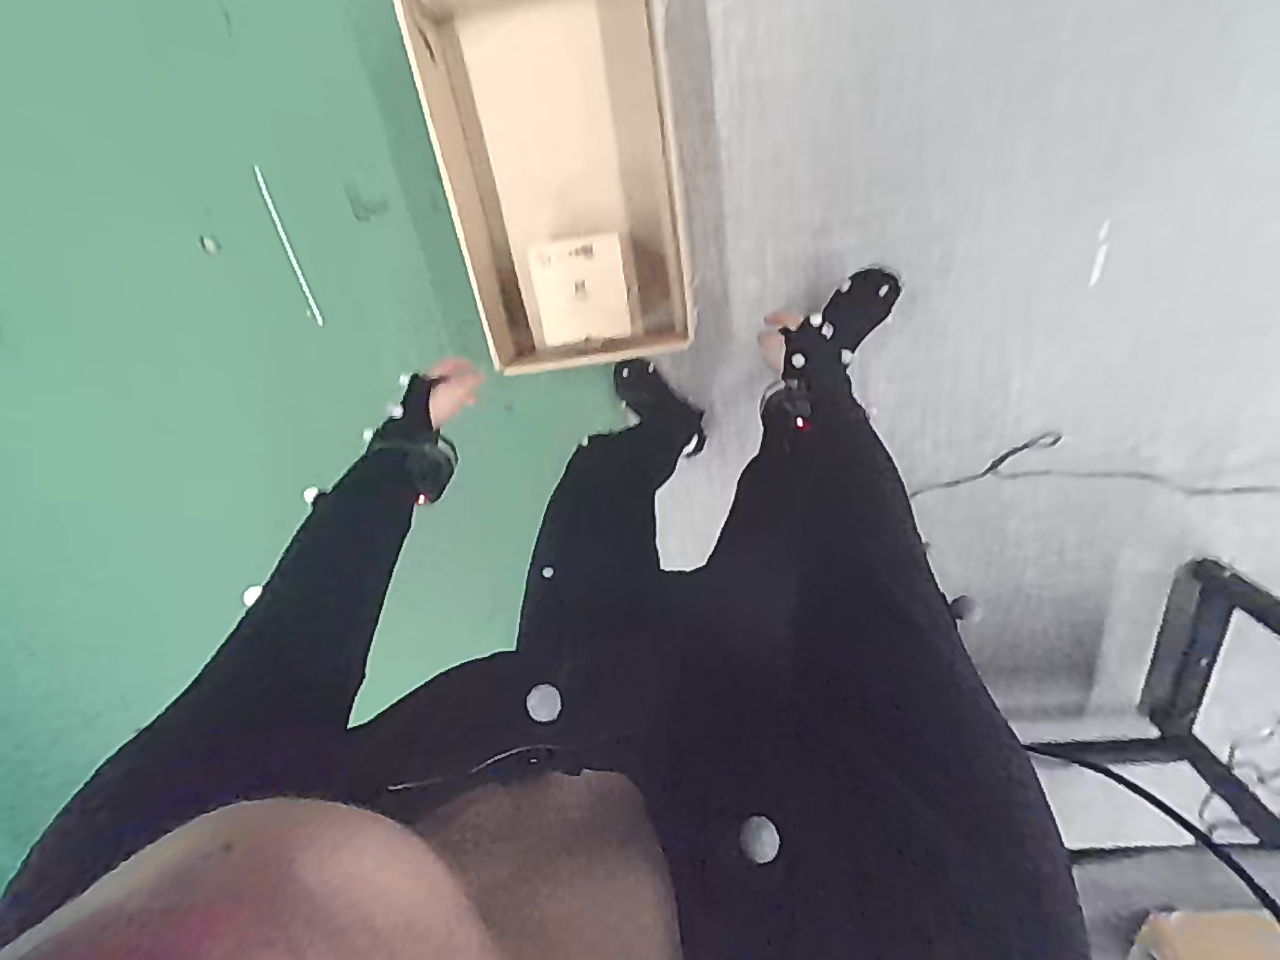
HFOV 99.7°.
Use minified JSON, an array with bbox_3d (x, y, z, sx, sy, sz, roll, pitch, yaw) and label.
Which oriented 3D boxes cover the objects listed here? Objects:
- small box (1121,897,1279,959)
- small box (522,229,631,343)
[{"bbox_3d":[0.831,0.710,0.745,0.179,0.176,0.168,-8,116,8],"label":"small box"},{"bbox_3d":[-0.111,-0.373,1.032,0.168,0.176,0.179,-6,116,5],"label":"small box"}]
